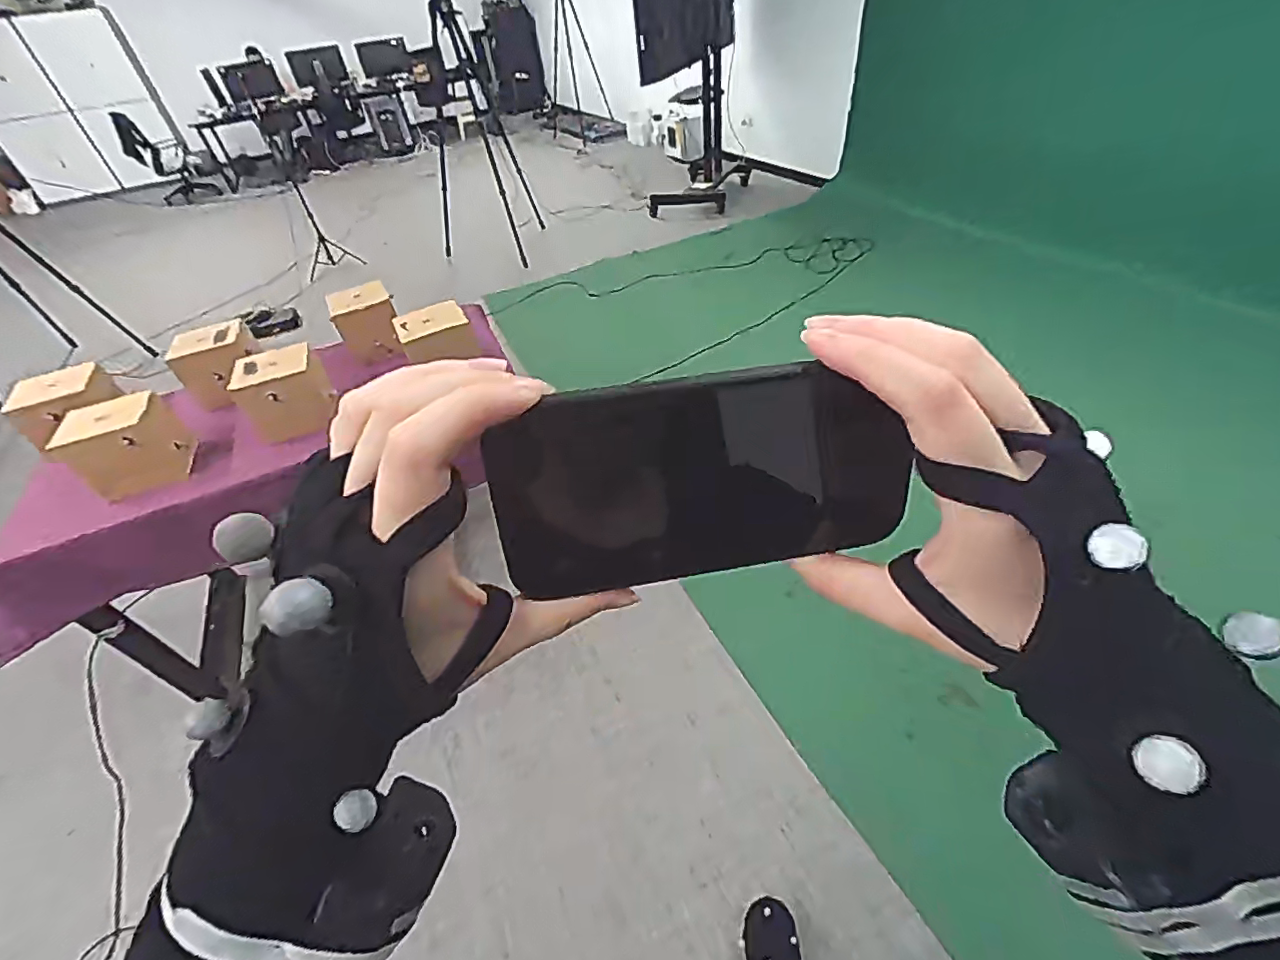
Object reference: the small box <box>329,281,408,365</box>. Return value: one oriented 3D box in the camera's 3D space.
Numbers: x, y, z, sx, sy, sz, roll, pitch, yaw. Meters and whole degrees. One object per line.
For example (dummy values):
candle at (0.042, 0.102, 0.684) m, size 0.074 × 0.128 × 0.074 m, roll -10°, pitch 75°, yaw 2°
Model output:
small box at (-0.809, -0.473, 1.631) m, size 0.168 × 0.176 × 0.179 m, roll -25°, pitch 46°, yaw -16°

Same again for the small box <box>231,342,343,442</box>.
small box at (-0.888, -0.222, 1.377) m, size 0.179 × 0.176 × 0.168 m, roll -20°, pitch 44°, yaw -13°

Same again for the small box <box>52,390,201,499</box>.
small box at (-1.196, -0.081, 1.277) m, size 0.179 × 0.176 × 0.168 m, roll -21°, pitch 44°, yaw -15°

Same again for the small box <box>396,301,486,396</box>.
small box at (-0.532, -0.355, 1.463) m, size 0.179 × 0.176 × 0.168 m, roll -23°, pitch 44°, yaw -16°
